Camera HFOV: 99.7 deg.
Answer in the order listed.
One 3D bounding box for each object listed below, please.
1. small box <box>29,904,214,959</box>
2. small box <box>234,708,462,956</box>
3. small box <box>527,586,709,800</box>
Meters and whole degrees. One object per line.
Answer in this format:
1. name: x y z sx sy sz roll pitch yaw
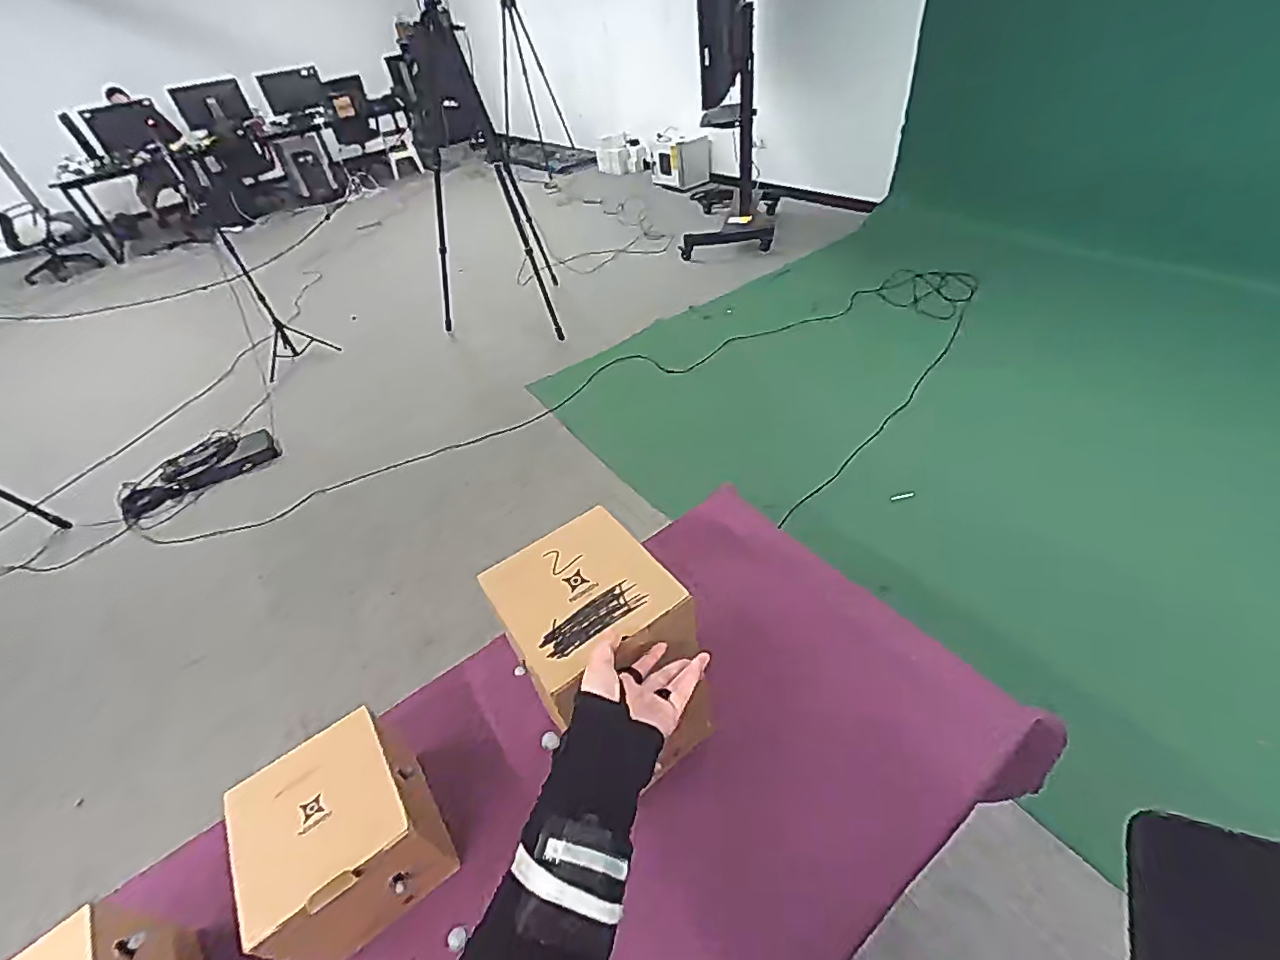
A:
1. small box: -0.543 0.573 0.525 0.168 0.176 0.179 -36 49 -25
2. small box: -0.340 0.422 0.648 0.168 0.176 0.179 -31 46 -22
3. small box: -0.024 0.287 0.731 0.168 0.176 0.179 -33 48 -22
